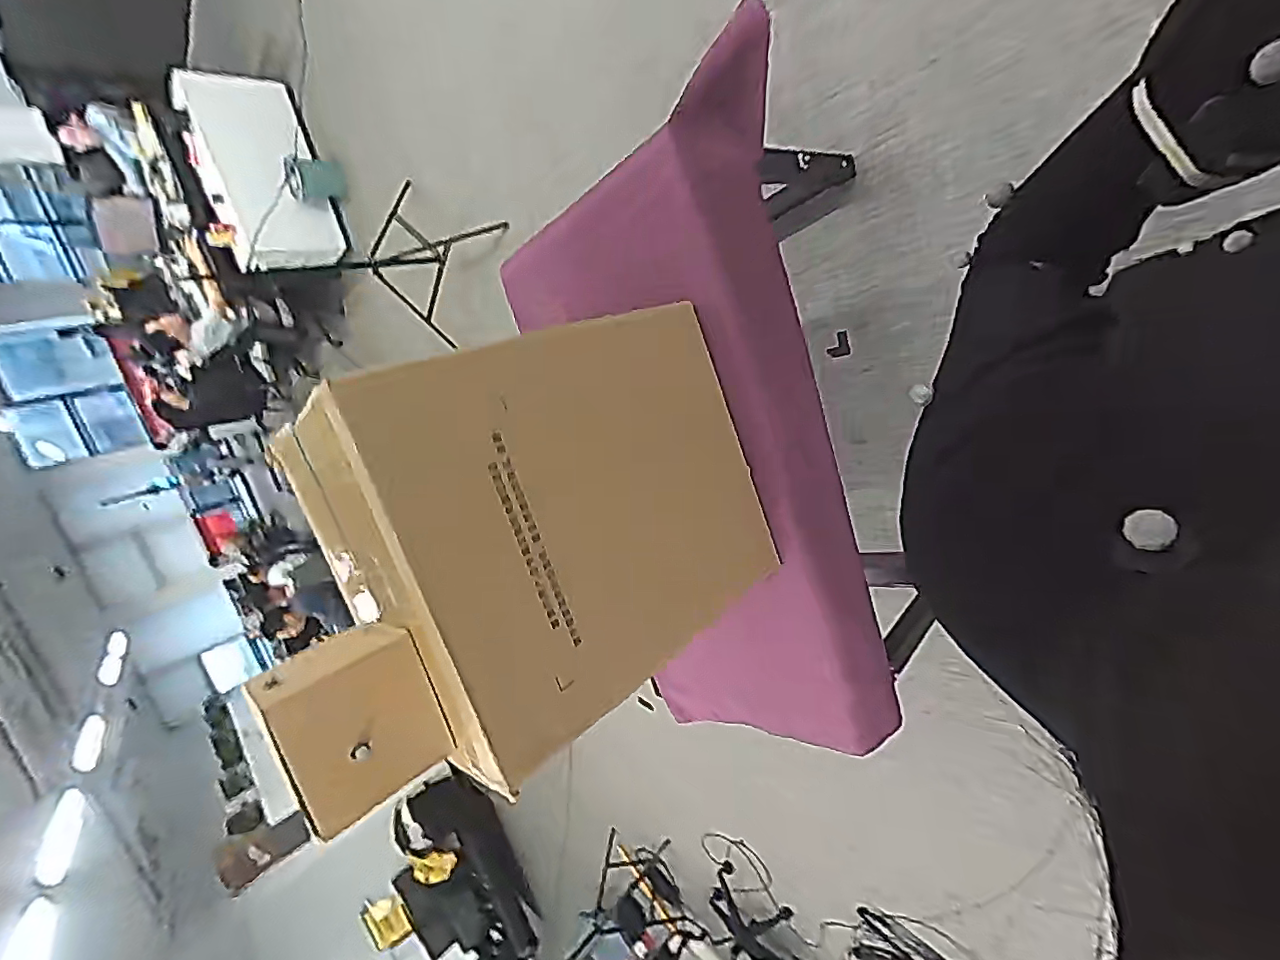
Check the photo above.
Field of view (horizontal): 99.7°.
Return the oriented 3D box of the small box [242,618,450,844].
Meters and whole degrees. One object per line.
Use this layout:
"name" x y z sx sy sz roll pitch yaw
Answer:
"small box" -0.371 0.303 0.693 0.168 0.176 0.179 -9 104 48
